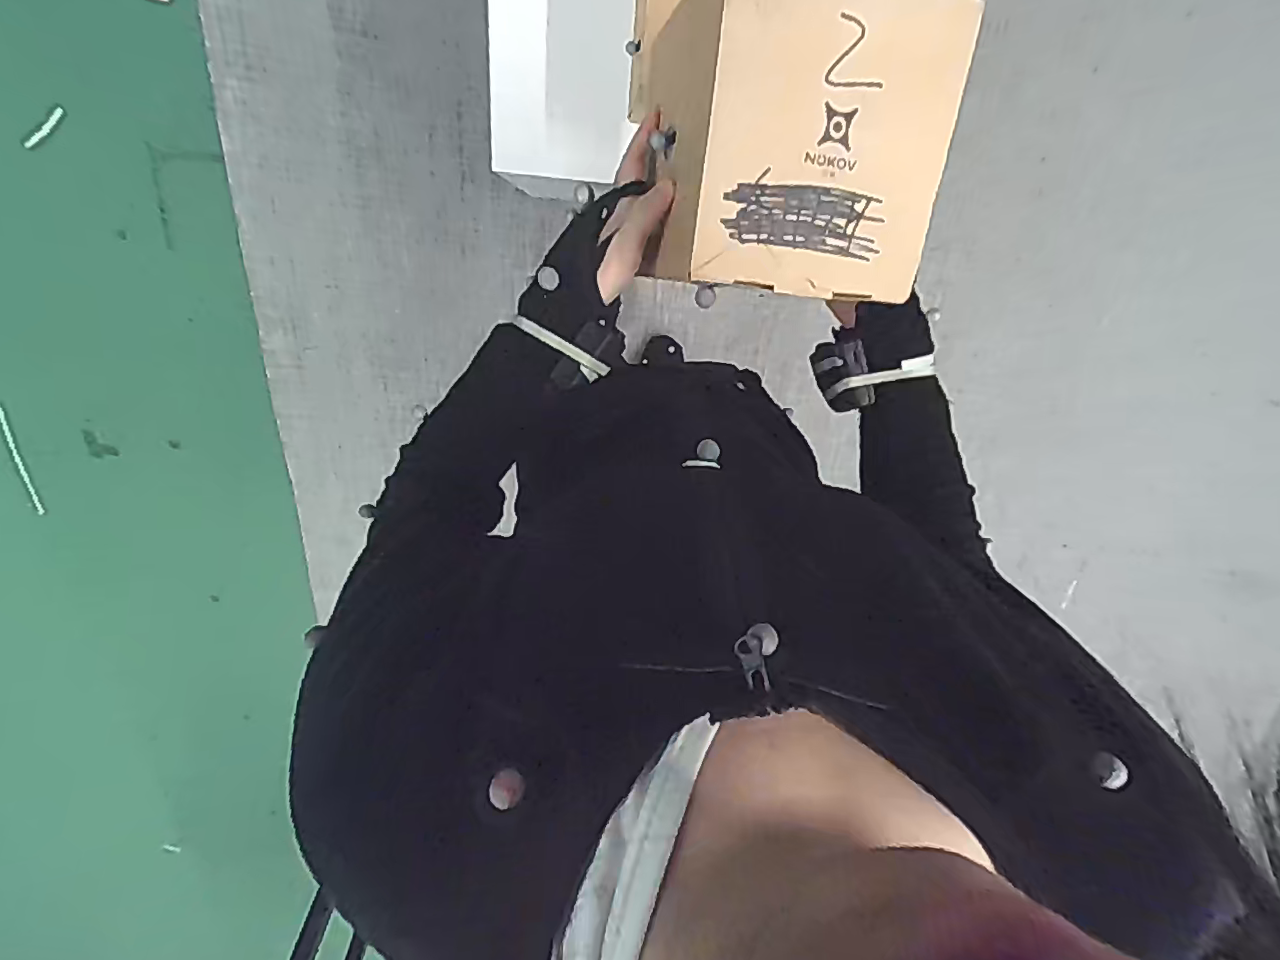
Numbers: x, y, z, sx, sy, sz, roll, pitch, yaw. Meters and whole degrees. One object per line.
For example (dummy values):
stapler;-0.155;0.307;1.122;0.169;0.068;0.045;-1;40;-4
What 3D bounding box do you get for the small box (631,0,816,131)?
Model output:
small box;0.082;-0.503;0.584;0.168;0.176;0.179;2;113;-6
